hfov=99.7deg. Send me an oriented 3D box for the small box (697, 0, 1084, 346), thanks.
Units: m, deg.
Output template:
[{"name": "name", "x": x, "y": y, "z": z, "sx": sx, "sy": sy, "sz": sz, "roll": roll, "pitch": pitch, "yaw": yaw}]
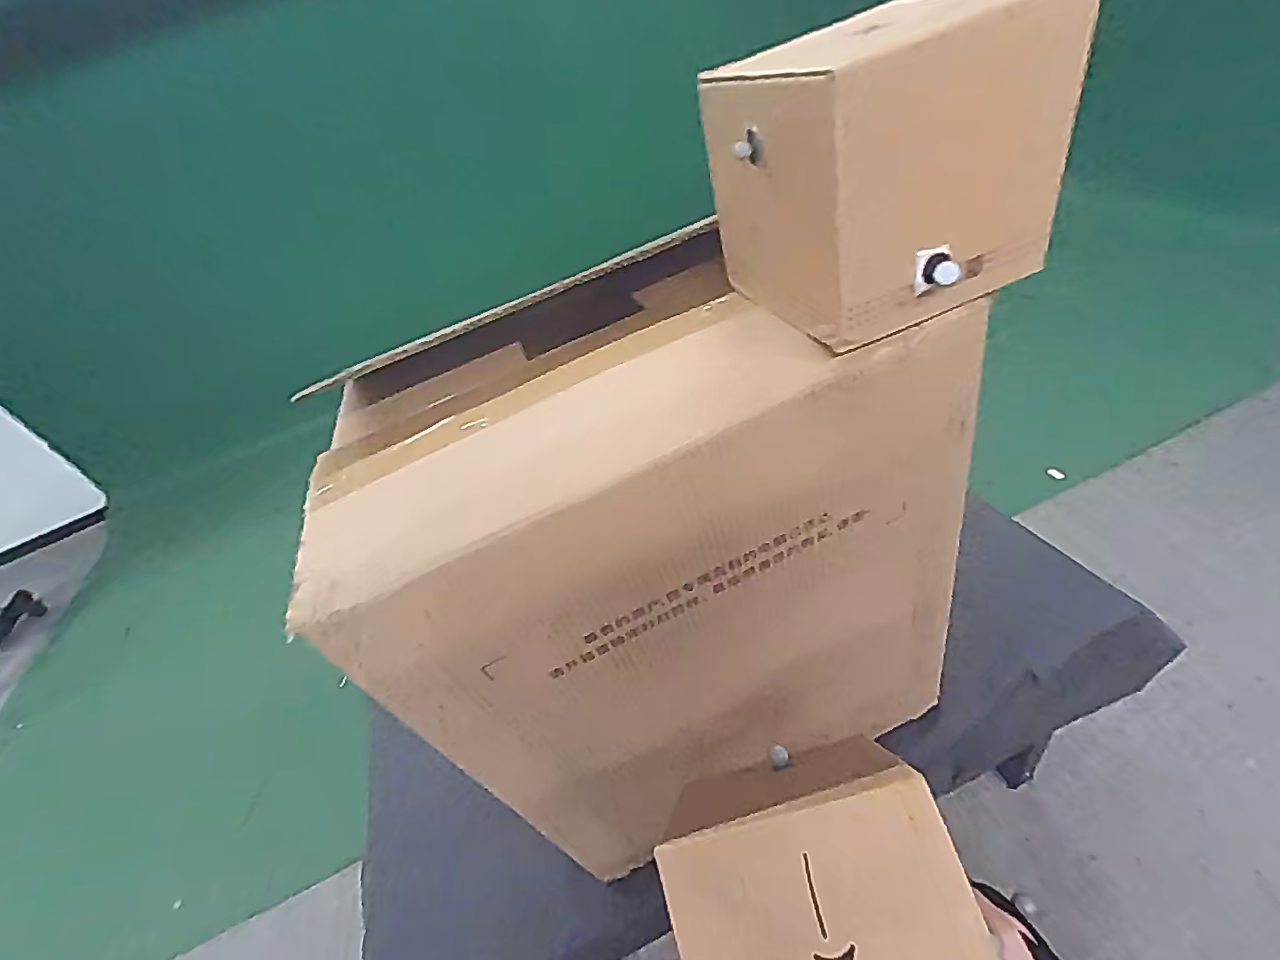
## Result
[{"name": "small box", "x": 0.162, "y": -0.223, "z": 0.399, "sx": 0.168, "sy": 0.176, "sz": 0.179, "roll": -25, "pitch": 40, "yaw": -6}]
